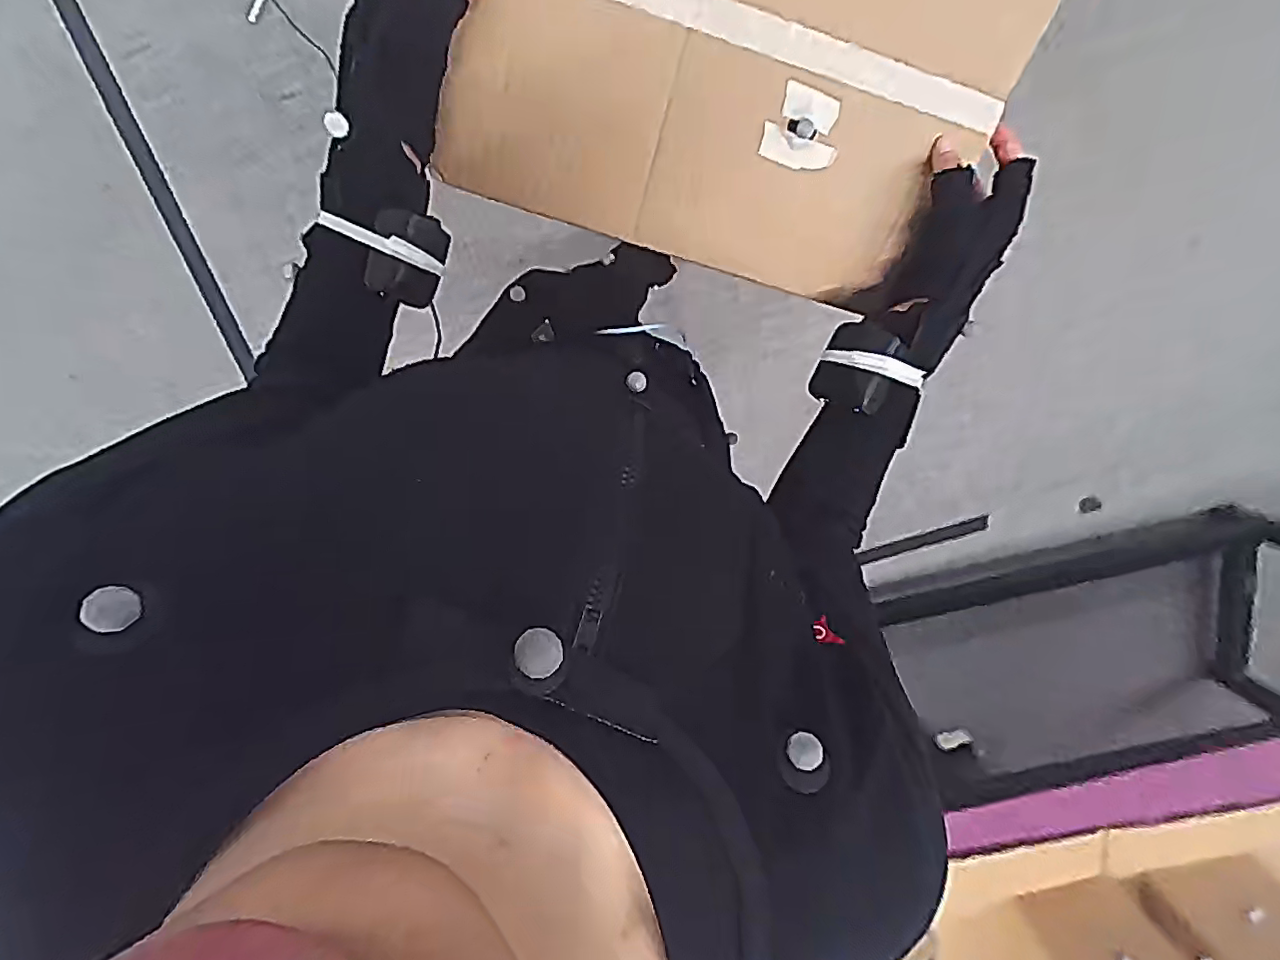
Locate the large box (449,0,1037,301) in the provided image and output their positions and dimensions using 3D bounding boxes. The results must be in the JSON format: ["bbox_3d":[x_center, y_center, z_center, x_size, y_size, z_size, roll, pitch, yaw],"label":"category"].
[{"bbox_3d":[0.071,-0.409,0.517,0.408,0.320,0.320,14,123,-8],"label":"large box"}]
